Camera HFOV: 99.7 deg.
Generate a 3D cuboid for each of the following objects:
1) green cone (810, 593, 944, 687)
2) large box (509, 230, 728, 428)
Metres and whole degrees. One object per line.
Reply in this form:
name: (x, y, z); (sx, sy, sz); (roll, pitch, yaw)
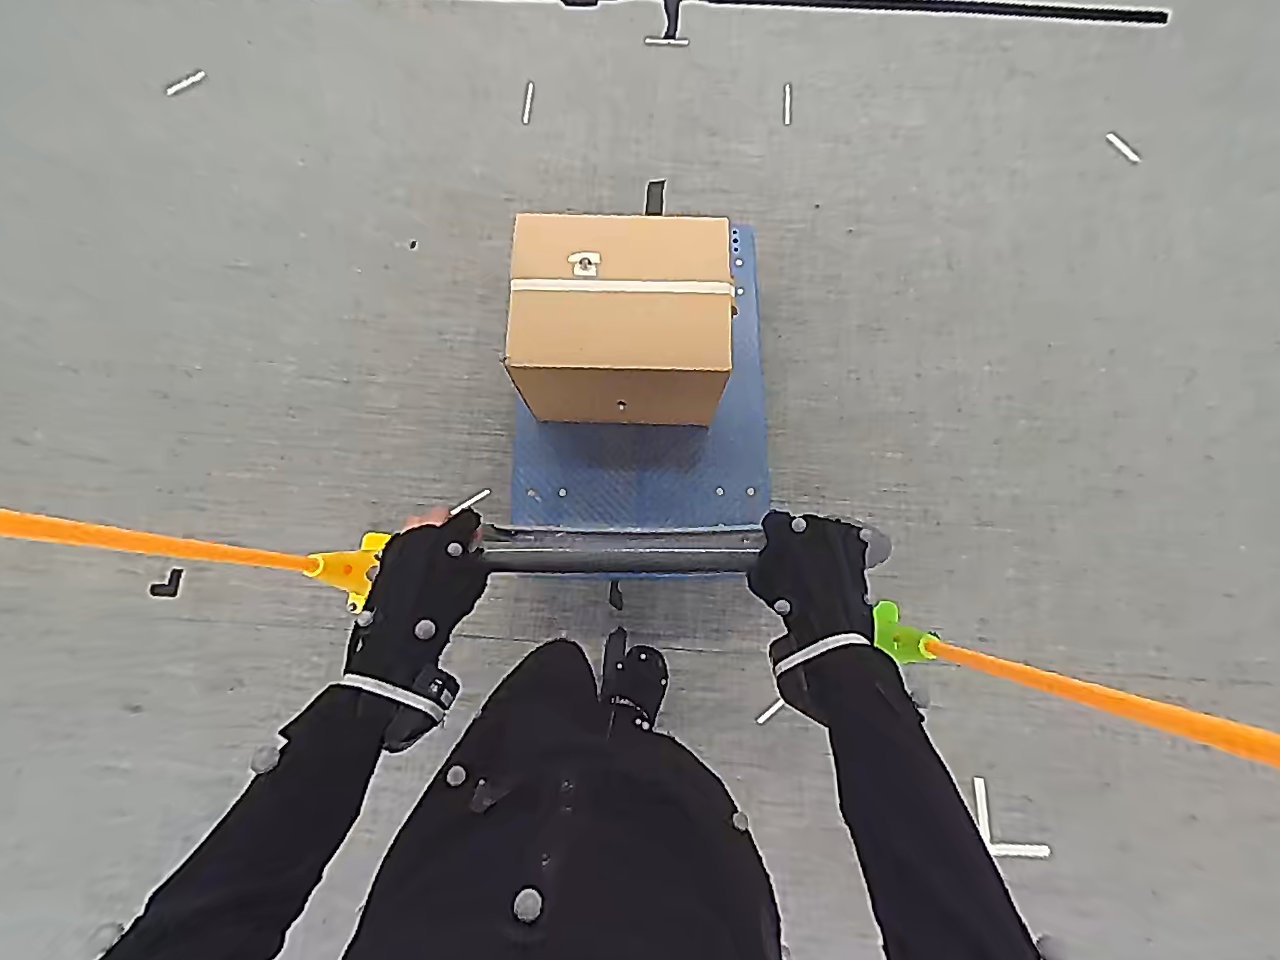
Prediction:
green cone: (0.517, 0.345, 1.140); (0.202, 0.368, 0.200); (8, 77, 1)
large box: (-0.034, -0.300, 1.151); (0.408, 0.320, 0.320); (1, 77, 1)
